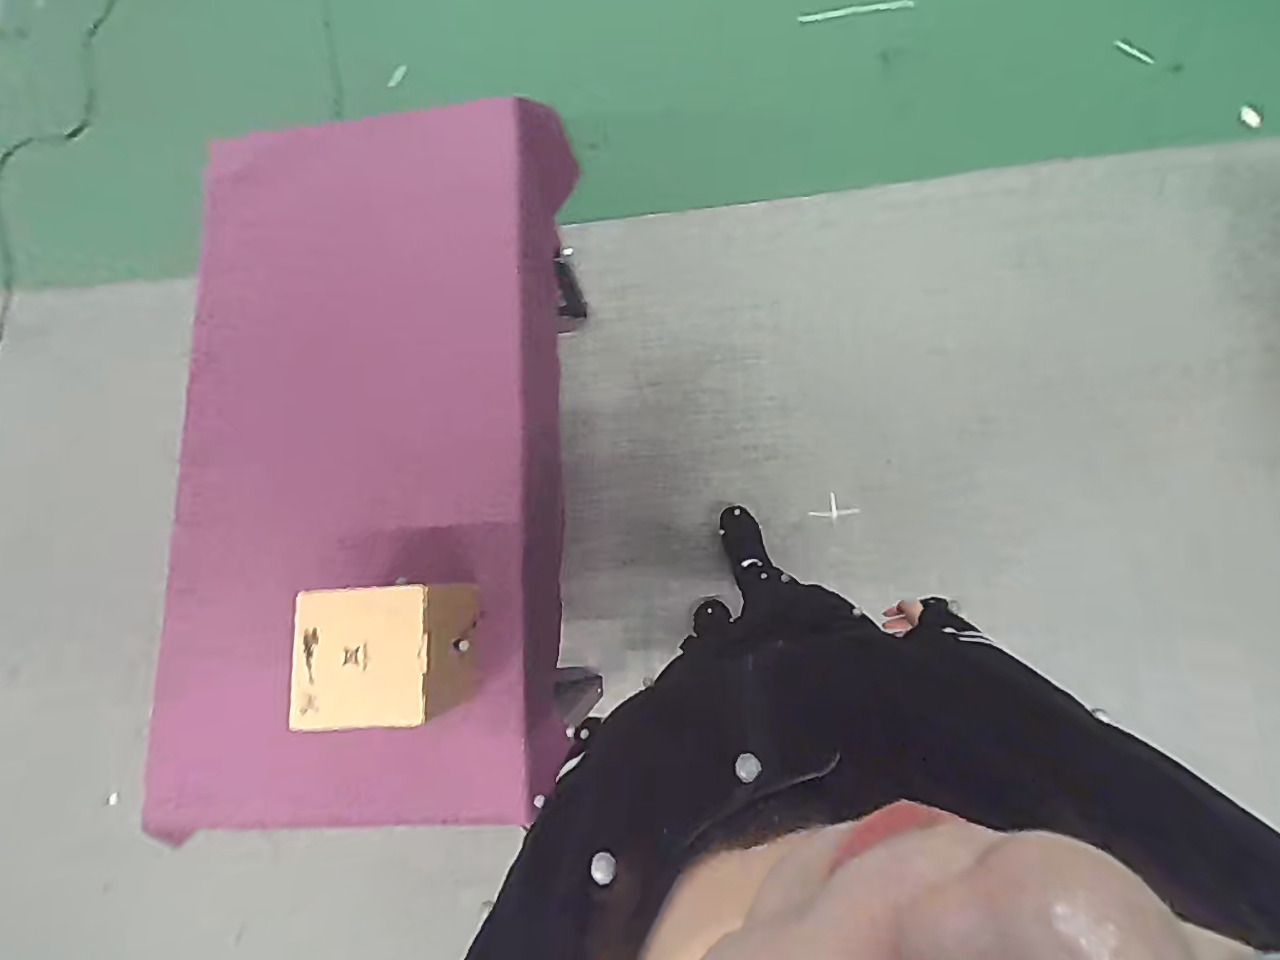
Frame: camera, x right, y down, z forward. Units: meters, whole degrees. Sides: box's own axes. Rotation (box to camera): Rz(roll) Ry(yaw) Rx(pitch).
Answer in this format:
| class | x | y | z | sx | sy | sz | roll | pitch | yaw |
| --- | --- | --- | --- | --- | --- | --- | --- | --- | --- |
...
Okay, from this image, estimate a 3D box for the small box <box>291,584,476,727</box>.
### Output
| class | x | y | z | sx | sy | sz | roll | pitch | yaw |
| --- | --- | --- | --- | --- | --- | --- | --- | --- | --- |
| small box | -0.337 | 0.231 | 0.746 | 0.179 | 0.176 | 0.168 | -5 | 79 | 6 |
